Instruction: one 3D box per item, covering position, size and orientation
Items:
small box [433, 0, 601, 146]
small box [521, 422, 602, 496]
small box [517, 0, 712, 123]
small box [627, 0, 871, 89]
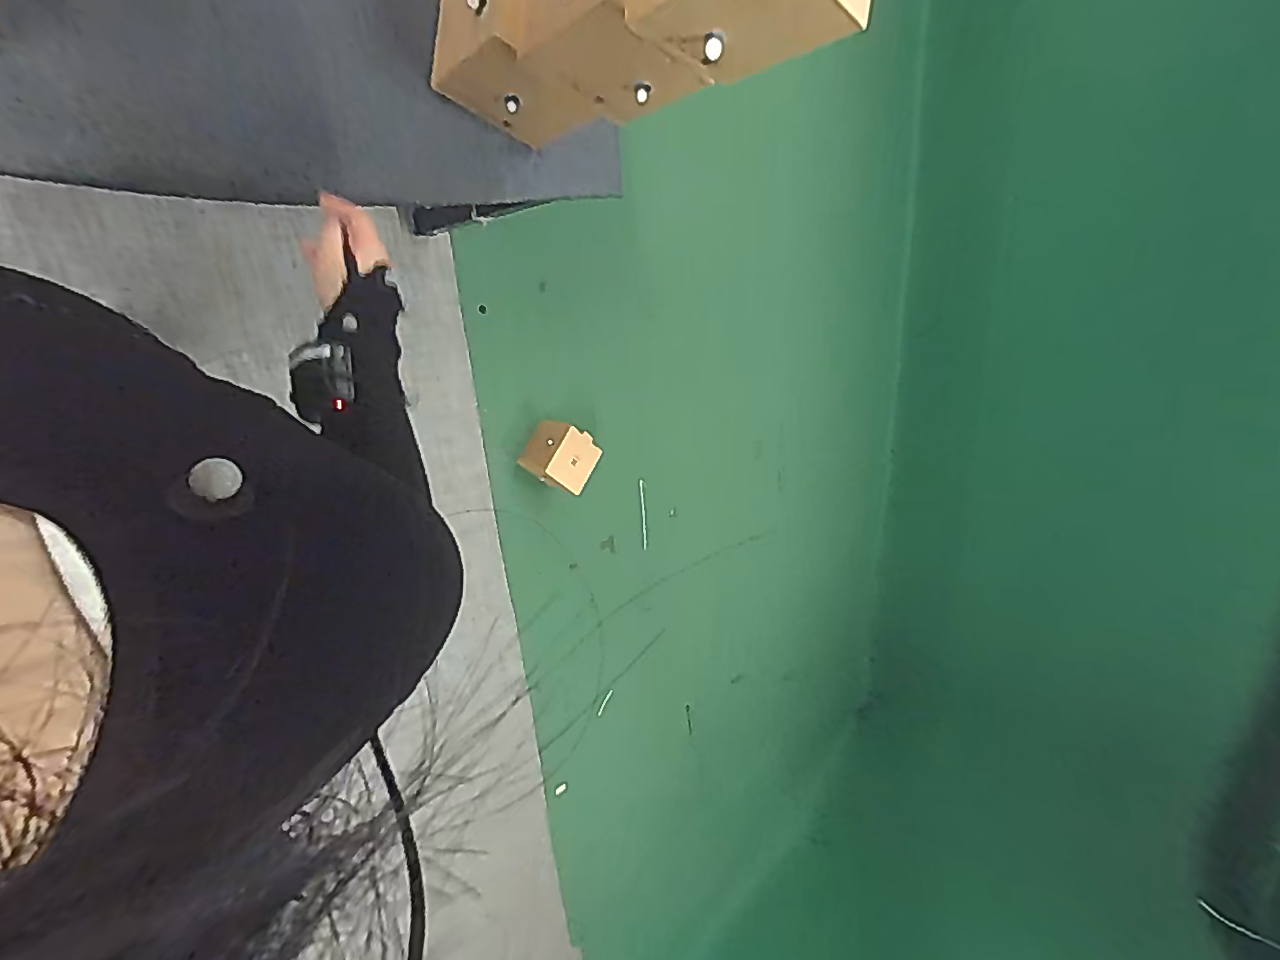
[{"bbox_3d":[-0.148,-0.570,0.694,0.168,0.176,0.179,5,95,-46],"label":"small box"},{"bbox_3d":[-0.266,-0.072,1.781,0.168,0.176,0.179,41,71,-43],"label":"small box"},{"bbox_3d":[-0.020,-0.536,0.597,0.168,0.176,0.179,-2,100,-46],"label":"small box"},{"bbox_3d":[0.100,-0.503,0.490,0.168,0.176,0.179,-11,108,-44],"label":"small box"}]
